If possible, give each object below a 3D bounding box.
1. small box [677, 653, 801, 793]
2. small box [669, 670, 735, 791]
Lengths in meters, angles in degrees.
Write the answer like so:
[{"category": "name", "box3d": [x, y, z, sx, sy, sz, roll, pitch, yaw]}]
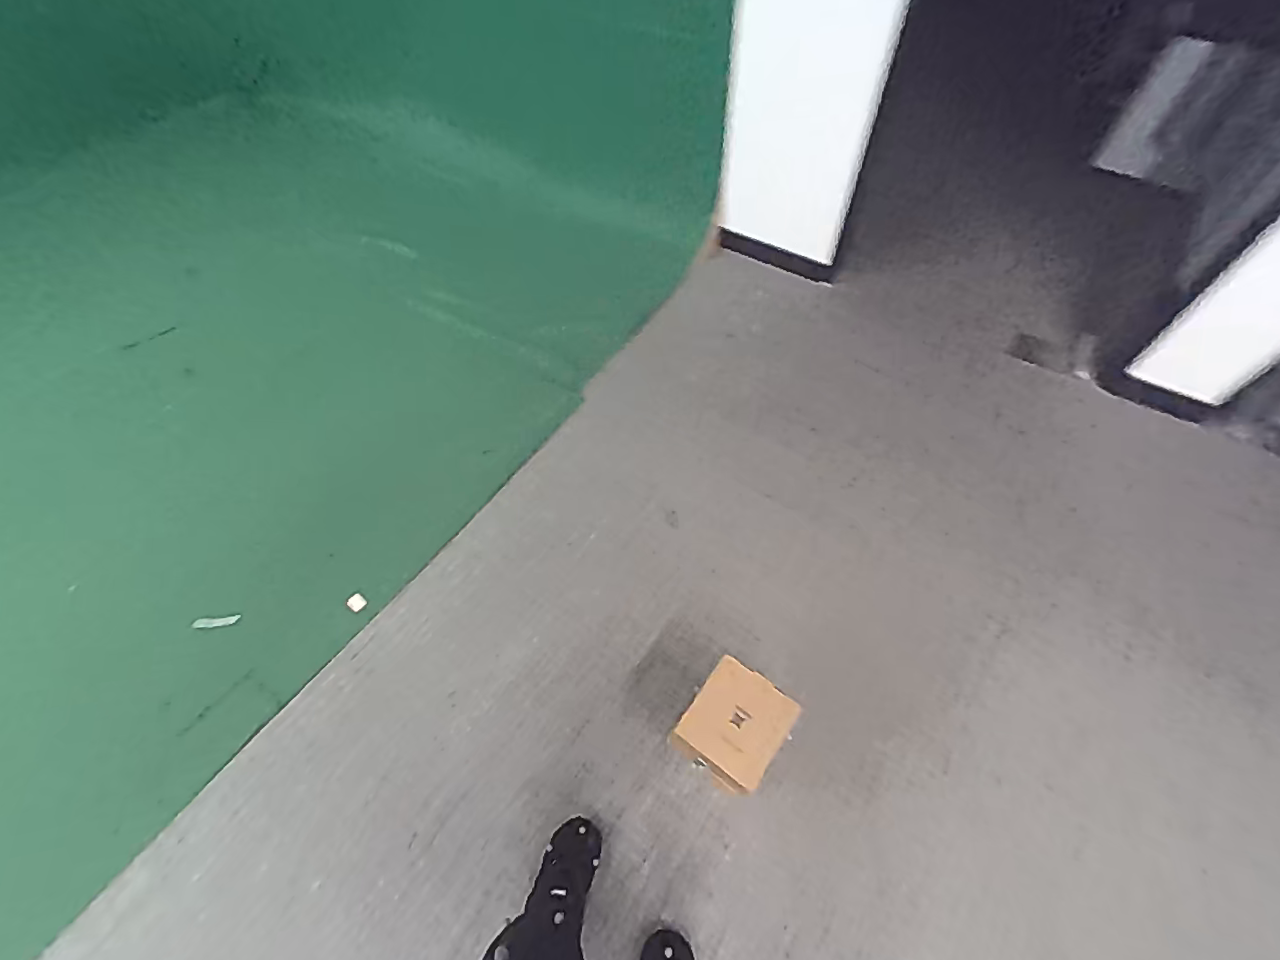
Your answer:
[{"category": "small box", "box3d": [0.185, 0.473, 1.046, 0.168, 0.176, 0.179, 31, 66, 22]}, {"category": "small box", "box3d": [0.179, 0.555, 1.186, 0.179, 0.176, 0.168, 34, 66, 21]}]
